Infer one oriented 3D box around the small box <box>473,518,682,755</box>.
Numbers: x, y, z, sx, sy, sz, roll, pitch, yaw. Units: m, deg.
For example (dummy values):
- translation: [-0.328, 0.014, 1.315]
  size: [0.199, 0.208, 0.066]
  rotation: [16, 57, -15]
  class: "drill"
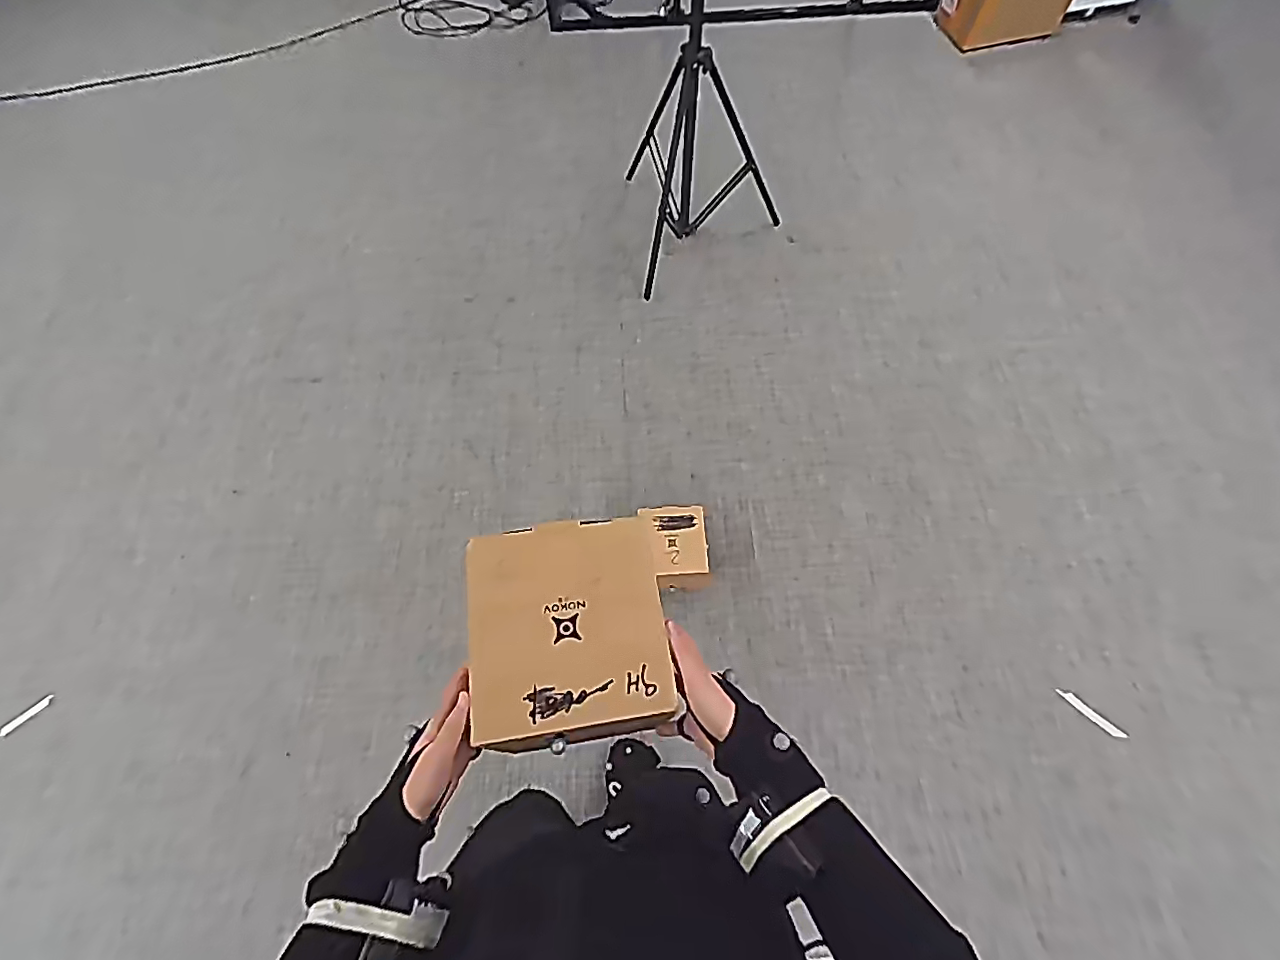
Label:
- translation: [-0.064, 0.157, 0.529]
  size: [0.168, 0.176, 0.179]
  rotation: [-7, 62, -7]
  class: "small box"
